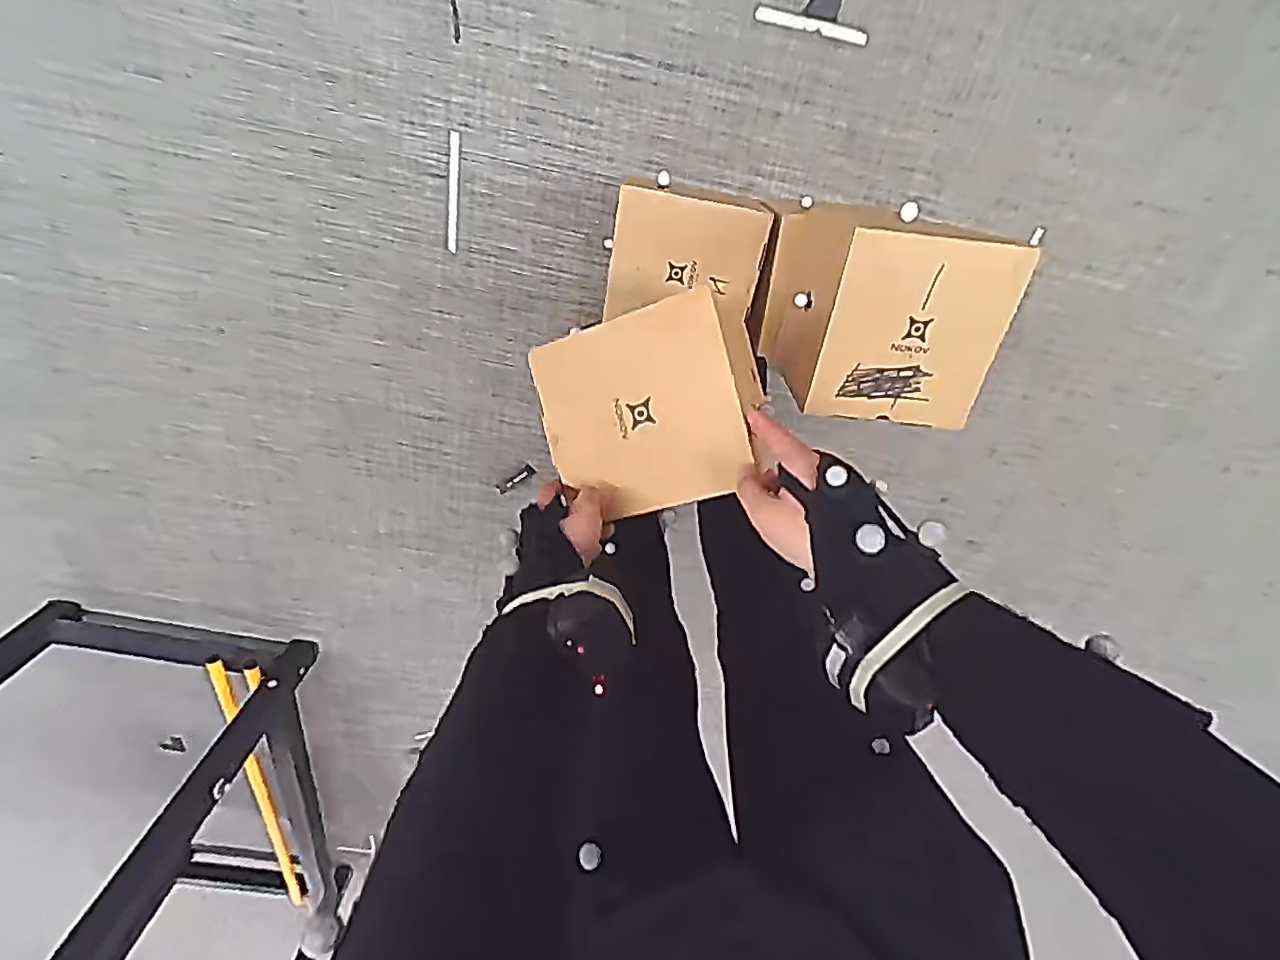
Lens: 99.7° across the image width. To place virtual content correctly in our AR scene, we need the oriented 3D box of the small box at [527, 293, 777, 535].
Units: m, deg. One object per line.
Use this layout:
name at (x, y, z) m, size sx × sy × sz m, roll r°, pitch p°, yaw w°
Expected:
small box at (0.026, -0.058, 0.524) m, size 0.179 × 0.176 × 0.168 m, roll -16°, pitch 90°, yaw 23°

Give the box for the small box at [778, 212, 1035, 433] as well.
small box at (0.253, -0.171, 0.572) m, size 0.168 × 0.176 × 0.179 m, roll 6°, pitch 121°, yaw -2°
